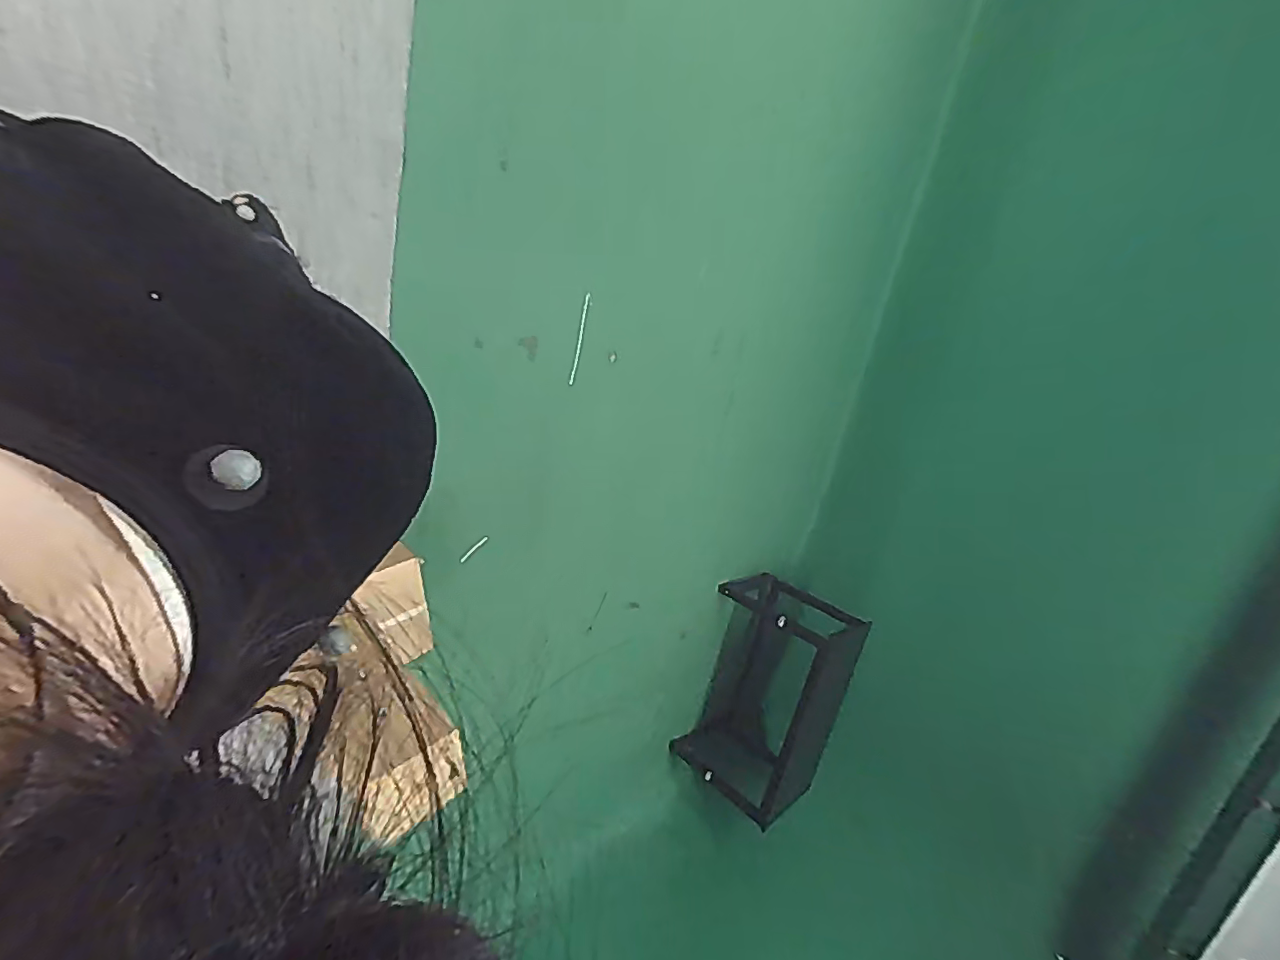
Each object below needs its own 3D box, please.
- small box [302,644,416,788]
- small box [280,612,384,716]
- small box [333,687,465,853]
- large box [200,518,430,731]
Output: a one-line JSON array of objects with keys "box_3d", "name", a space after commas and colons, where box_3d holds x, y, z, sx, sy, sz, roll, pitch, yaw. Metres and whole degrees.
[{"box_3d": [-0.573, 0.478, 1.119, 0.179, 0.176, 0.168, -22, 124, -40], "name": "small box"}, {"box_3d": [-0.686, 0.422, 1.224, 0.168, 0.176, 0.179, -21, 123, -41], "name": "small box"}, {"box_3d": [-0.455, 0.532, 1.018, 0.179, 0.176, 0.168, -20, 123, -40], "name": "small box"}, {"box_3d": [-0.829, 0.344, 1.410, 0.408, 0.320, 0.320, -23, 126, -42], "name": "large box"}]
